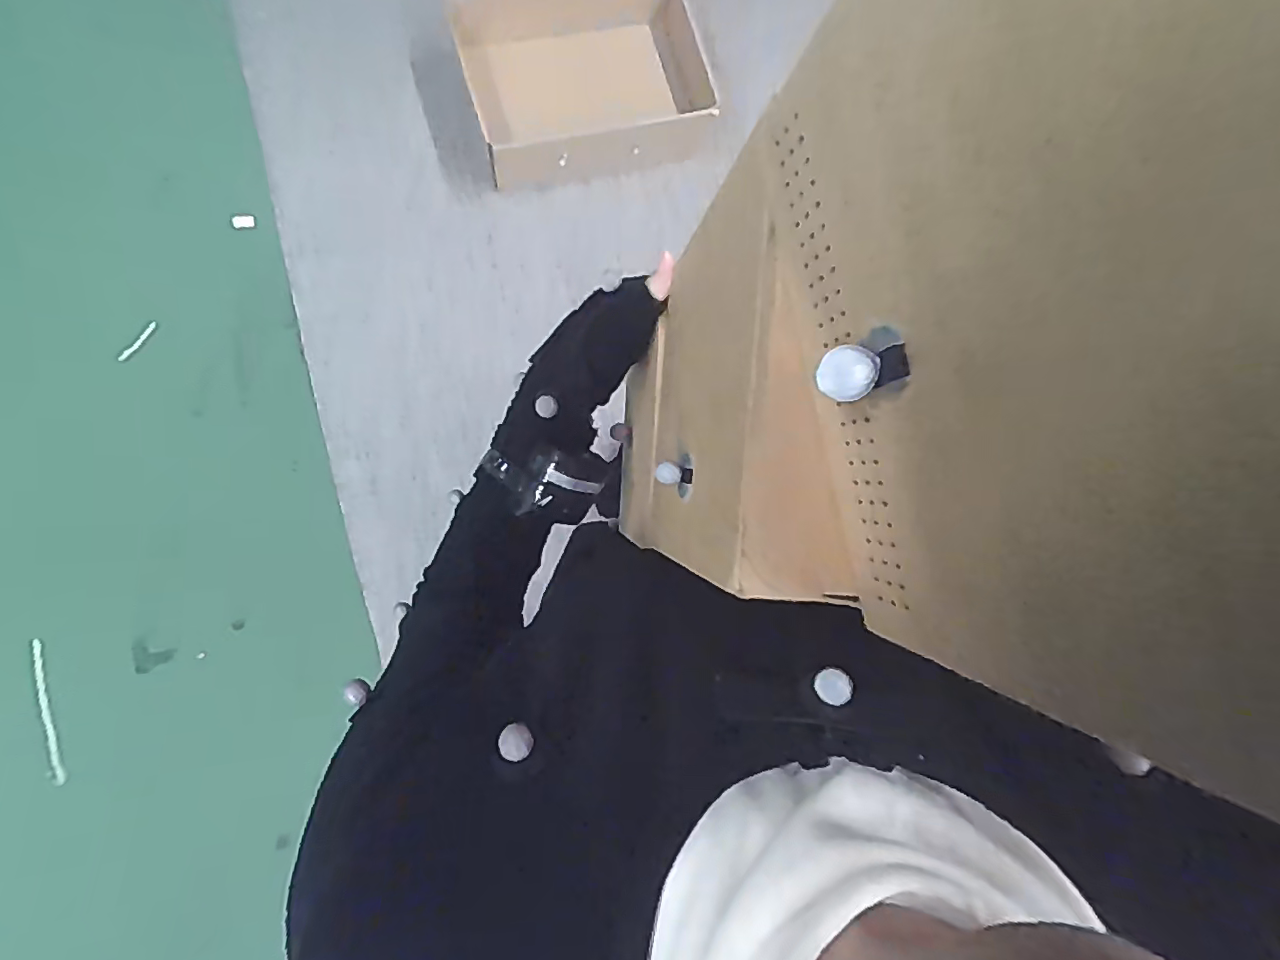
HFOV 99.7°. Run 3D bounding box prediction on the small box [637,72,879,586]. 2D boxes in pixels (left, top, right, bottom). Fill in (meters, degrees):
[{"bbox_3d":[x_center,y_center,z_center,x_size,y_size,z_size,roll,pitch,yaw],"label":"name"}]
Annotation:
[{"bbox_3d":[0.095,-0.048,0.276,0.168,0.176,0.179,5,89,-10],"label":"small box"}]
